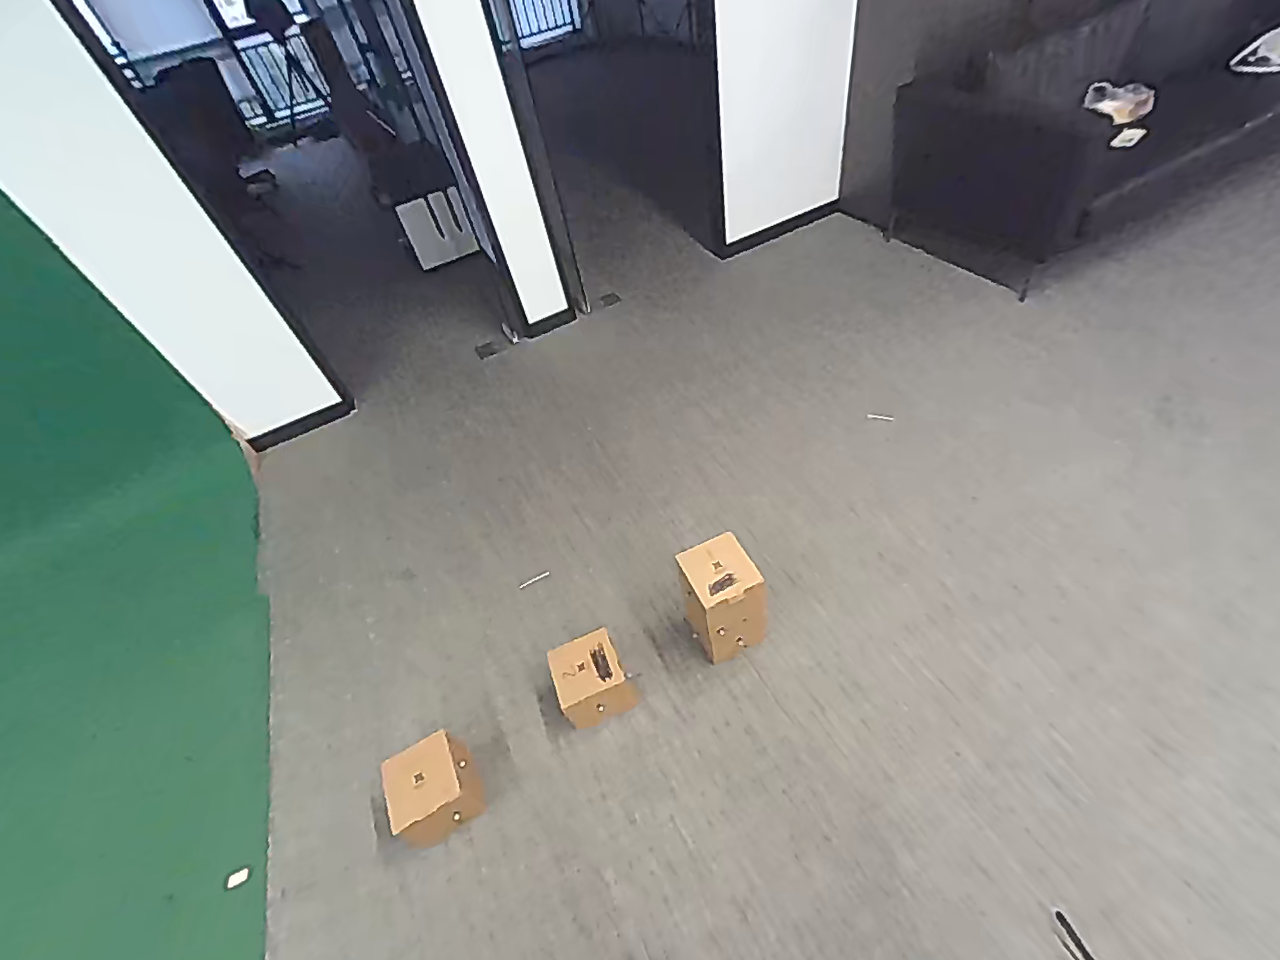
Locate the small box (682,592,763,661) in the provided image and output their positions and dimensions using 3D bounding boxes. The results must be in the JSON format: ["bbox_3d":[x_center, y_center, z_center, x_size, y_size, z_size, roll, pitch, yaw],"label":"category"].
[{"bbox_3d":[0.236,0.390,1.535,0.168,0.176,0.179,-24,48,-10],"label":"small box"}]

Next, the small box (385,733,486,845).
[{"bbox_3d":[-0.506,0.777,1.349,0.168,0.176,0.179,-27,47,-13],"label":"small box"}]

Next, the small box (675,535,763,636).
[{"bbox_3d":[0.209,0.283,1.412,0.168,0.176,0.179,-23,46,-9],"label":"small box"}]
